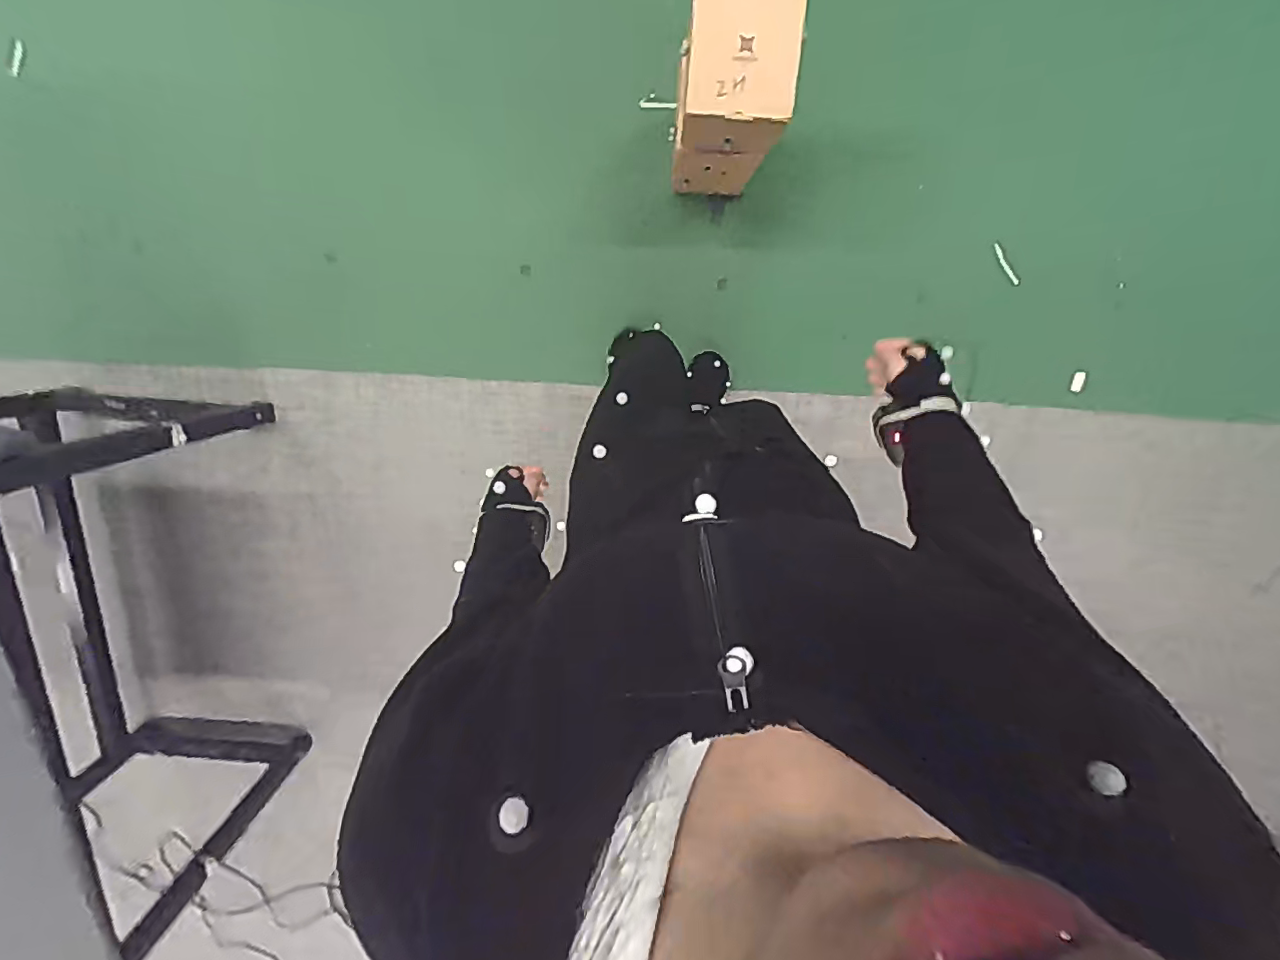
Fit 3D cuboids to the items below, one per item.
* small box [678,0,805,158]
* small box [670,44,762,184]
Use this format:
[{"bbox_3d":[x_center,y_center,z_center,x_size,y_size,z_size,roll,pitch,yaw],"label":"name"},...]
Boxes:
[{"bbox_3d":[0.154,-0.655,0.883,0.168,0.176,0.179,4,106,-1],"label":"small box"},{"bbox_3d":[0.147,-0.695,1.043,0.168,0.176,0.179,3,106,-1],"label":"small box"}]
